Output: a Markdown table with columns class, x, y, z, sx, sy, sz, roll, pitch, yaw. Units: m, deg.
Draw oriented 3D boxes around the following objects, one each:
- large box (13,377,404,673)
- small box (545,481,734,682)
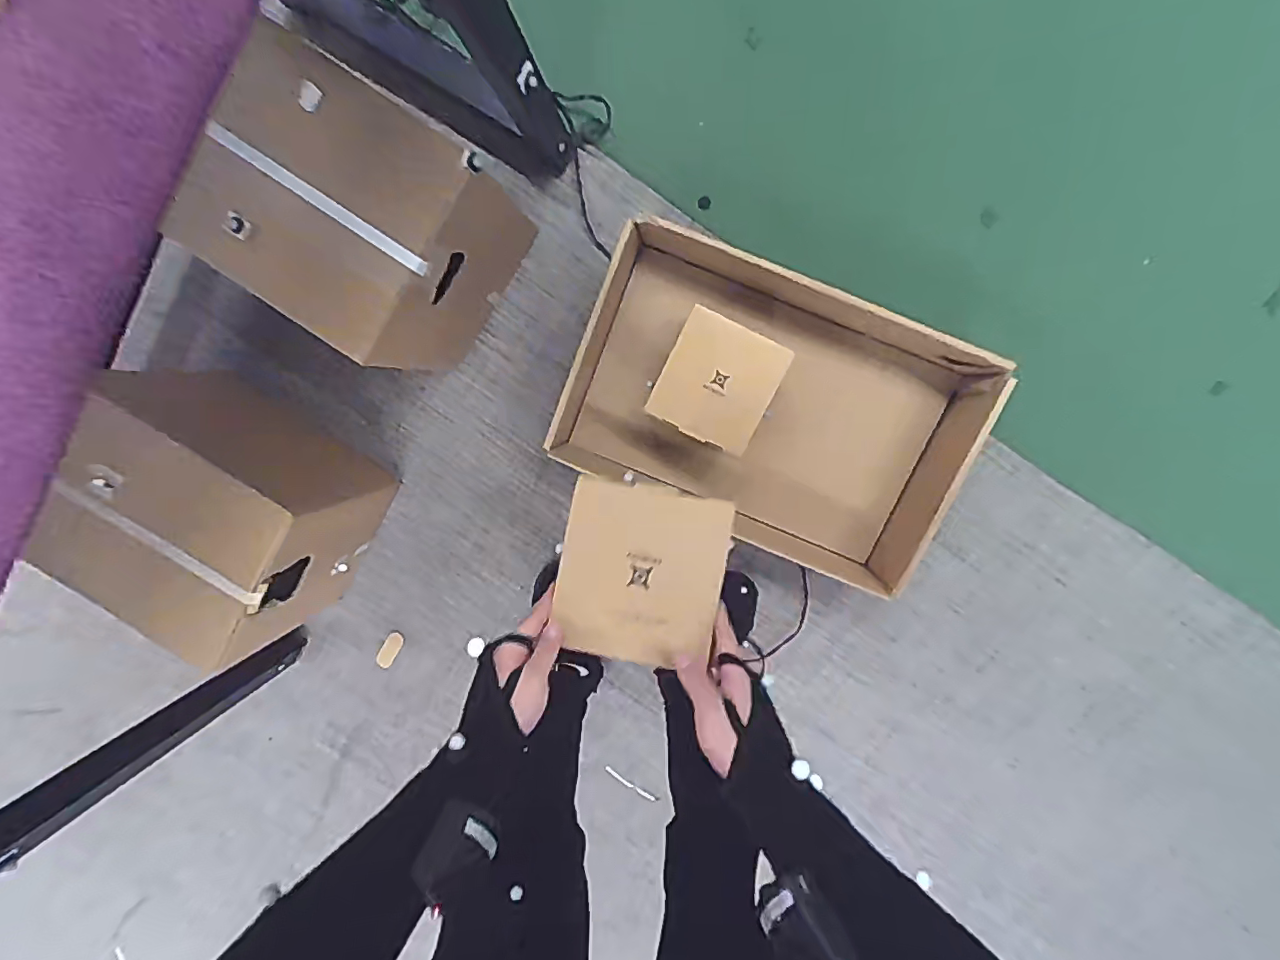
| class | x | y | z | sx | sy | sz | roll | pitch | yaw |
| --- | --- | --- | --- | --- | --- | --- | --- | --- | --- |
| large box | -0.723 | 0.054 | 0.964 | 0.408 | 0.320 | 0.320 | 32 | 99 | 1 |
| small box | 0.001 | 0.107 | 0.619 | 0.168 | 0.176 | 0.179 | 10 | 85 | 3 |
